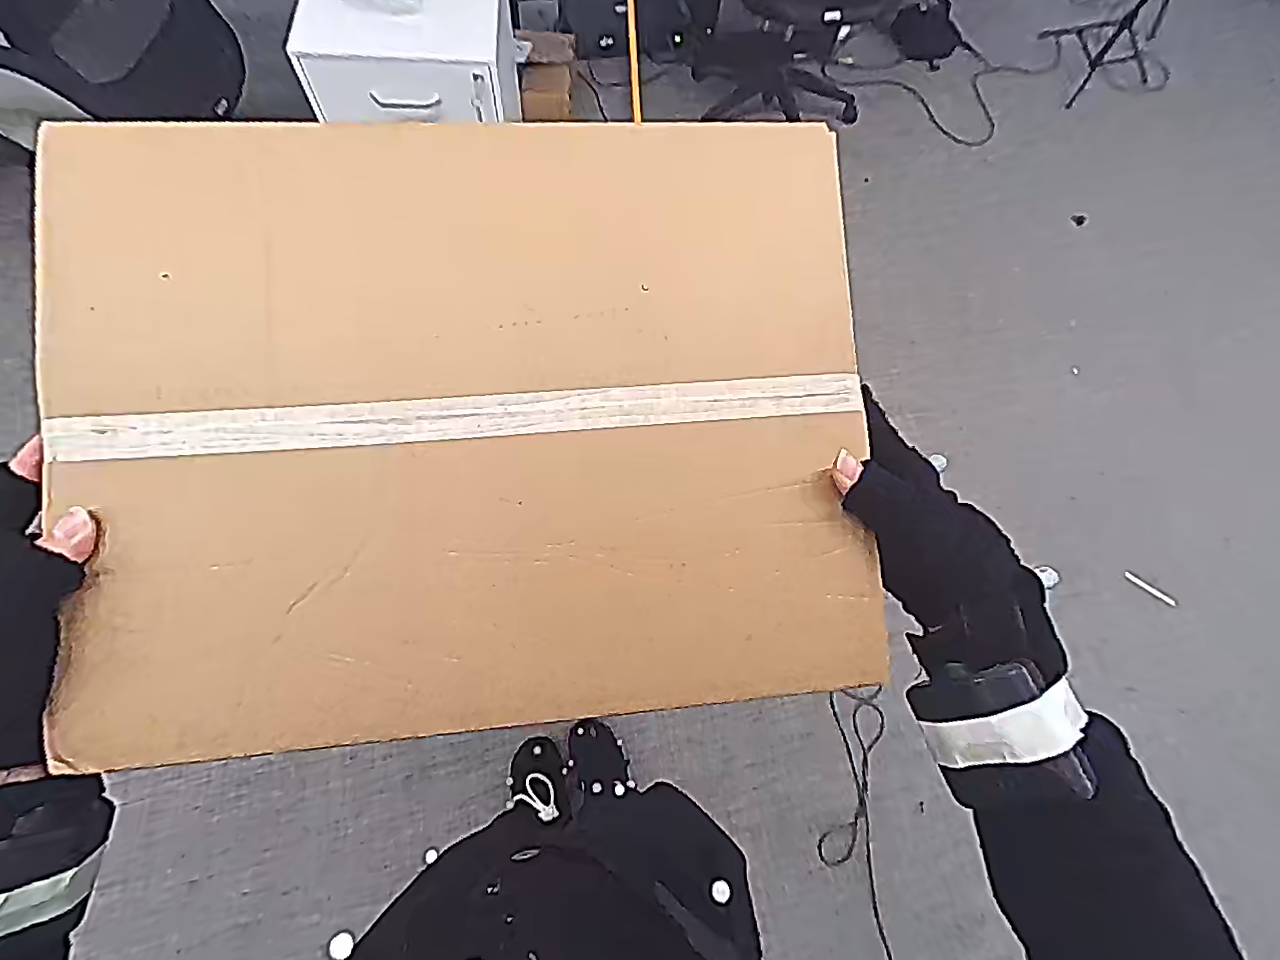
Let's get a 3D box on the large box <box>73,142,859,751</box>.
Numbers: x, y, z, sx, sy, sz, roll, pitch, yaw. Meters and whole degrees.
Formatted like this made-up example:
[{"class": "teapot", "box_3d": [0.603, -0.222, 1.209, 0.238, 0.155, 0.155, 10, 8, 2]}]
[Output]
[{"class": "large box", "box_3d": [-0.096, -0.025, 0.439, 0.408, 0.320, 0.320, -3, 86, -6]}]
